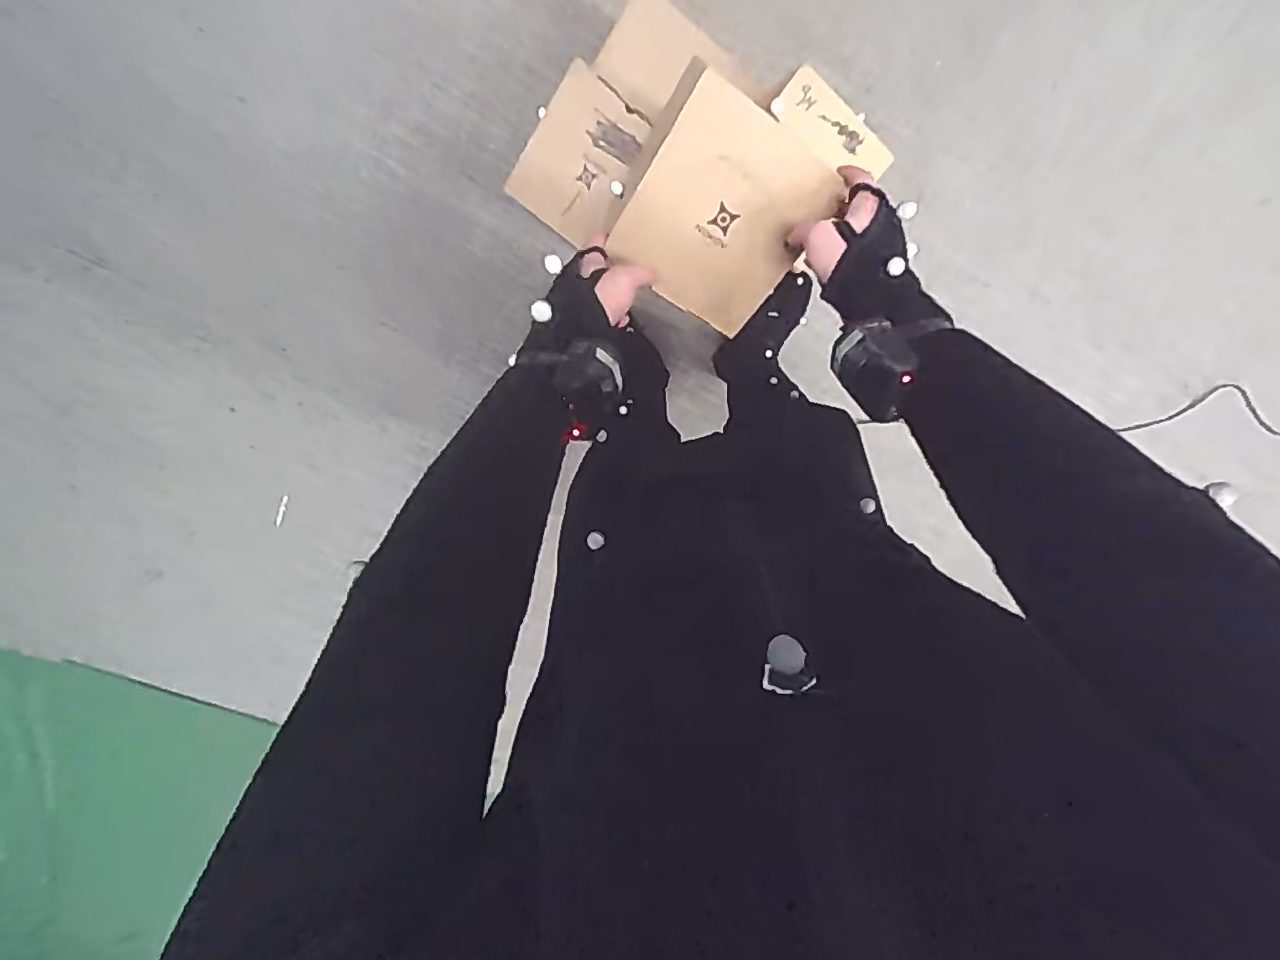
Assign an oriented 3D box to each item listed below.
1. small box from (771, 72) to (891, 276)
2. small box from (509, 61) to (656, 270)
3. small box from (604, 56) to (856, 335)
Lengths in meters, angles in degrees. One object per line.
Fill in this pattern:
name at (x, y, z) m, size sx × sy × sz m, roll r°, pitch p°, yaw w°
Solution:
small box at (0.207, -0.419, 0.769) m, size 0.168 × 0.176 × 0.179 m, roll 34°, pitch 110°, yaw -16°
small box at (-0.056, -0.430, 0.760) m, size 0.168 × 0.176 × 0.179 m, roll 35°, pitch 113°, yaw -17°
small box at (0.079, -0.290, 0.555) m, size 0.168 × 0.176 × 0.179 m, roll 26°, pitch 124°, yaw -20°
